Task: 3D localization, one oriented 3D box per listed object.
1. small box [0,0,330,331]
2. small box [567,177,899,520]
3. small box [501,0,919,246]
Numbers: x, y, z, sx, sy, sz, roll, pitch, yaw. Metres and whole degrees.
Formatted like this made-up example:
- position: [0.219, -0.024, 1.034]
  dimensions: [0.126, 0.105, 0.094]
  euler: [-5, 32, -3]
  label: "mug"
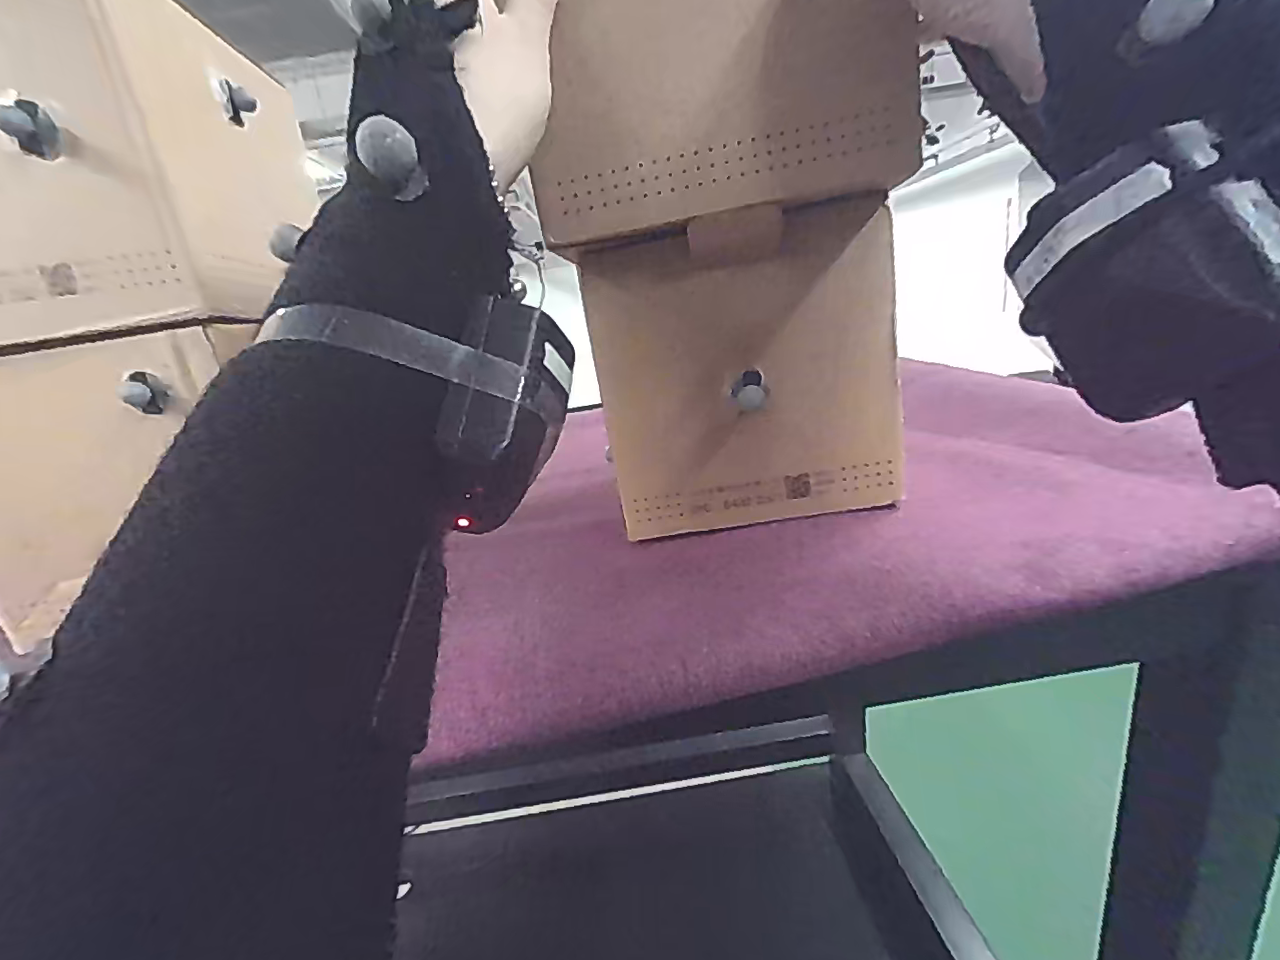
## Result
- position: [-0.313, -0.168, 0.314]
  dimensions: [0.168, 0.176, 0.179]
  euler: [-8, 15, -4]
  label: "small box"
- position: [0.062, -0.078, 0.369]
  dimensions: [0.168, 0.176, 0.179]
  euler: [-9, 16, 6]
  label: "small box"
- position: [0.029, -0.225, 0.293]
  dimensions: [0.179, 0.176, 0.168]
  euler: [-8, 16, 7]
  label: "small box"
